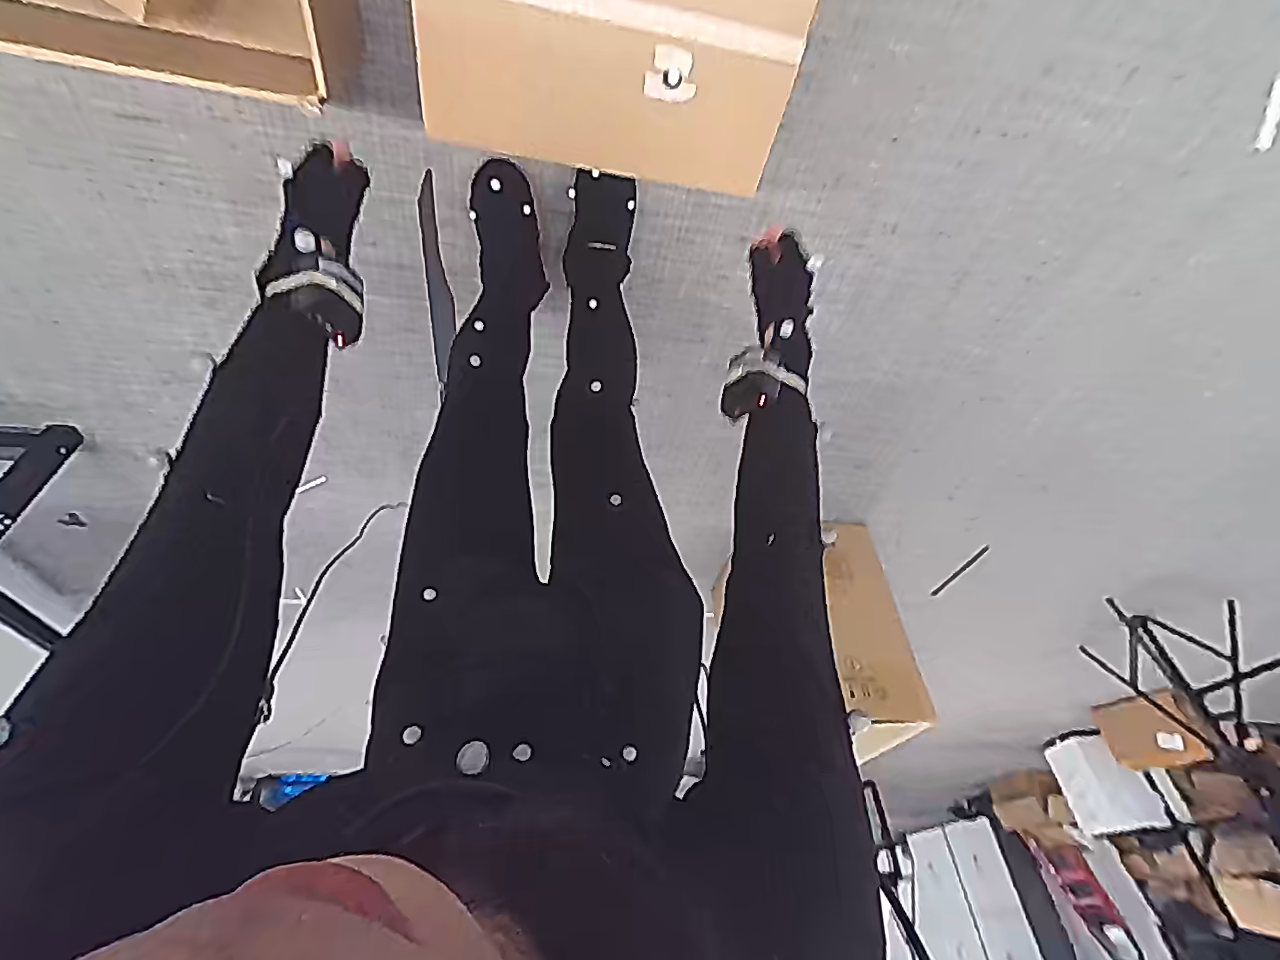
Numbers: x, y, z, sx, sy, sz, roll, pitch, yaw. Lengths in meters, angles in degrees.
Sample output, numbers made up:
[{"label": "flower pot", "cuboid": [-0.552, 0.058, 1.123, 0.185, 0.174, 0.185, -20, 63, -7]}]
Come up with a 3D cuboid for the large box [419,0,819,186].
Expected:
[{"label": "large box", "cuboid": [-0.029, -0.594, 0.635, 0.408, 0.320, 0.320, 4, 140, -10]}]
